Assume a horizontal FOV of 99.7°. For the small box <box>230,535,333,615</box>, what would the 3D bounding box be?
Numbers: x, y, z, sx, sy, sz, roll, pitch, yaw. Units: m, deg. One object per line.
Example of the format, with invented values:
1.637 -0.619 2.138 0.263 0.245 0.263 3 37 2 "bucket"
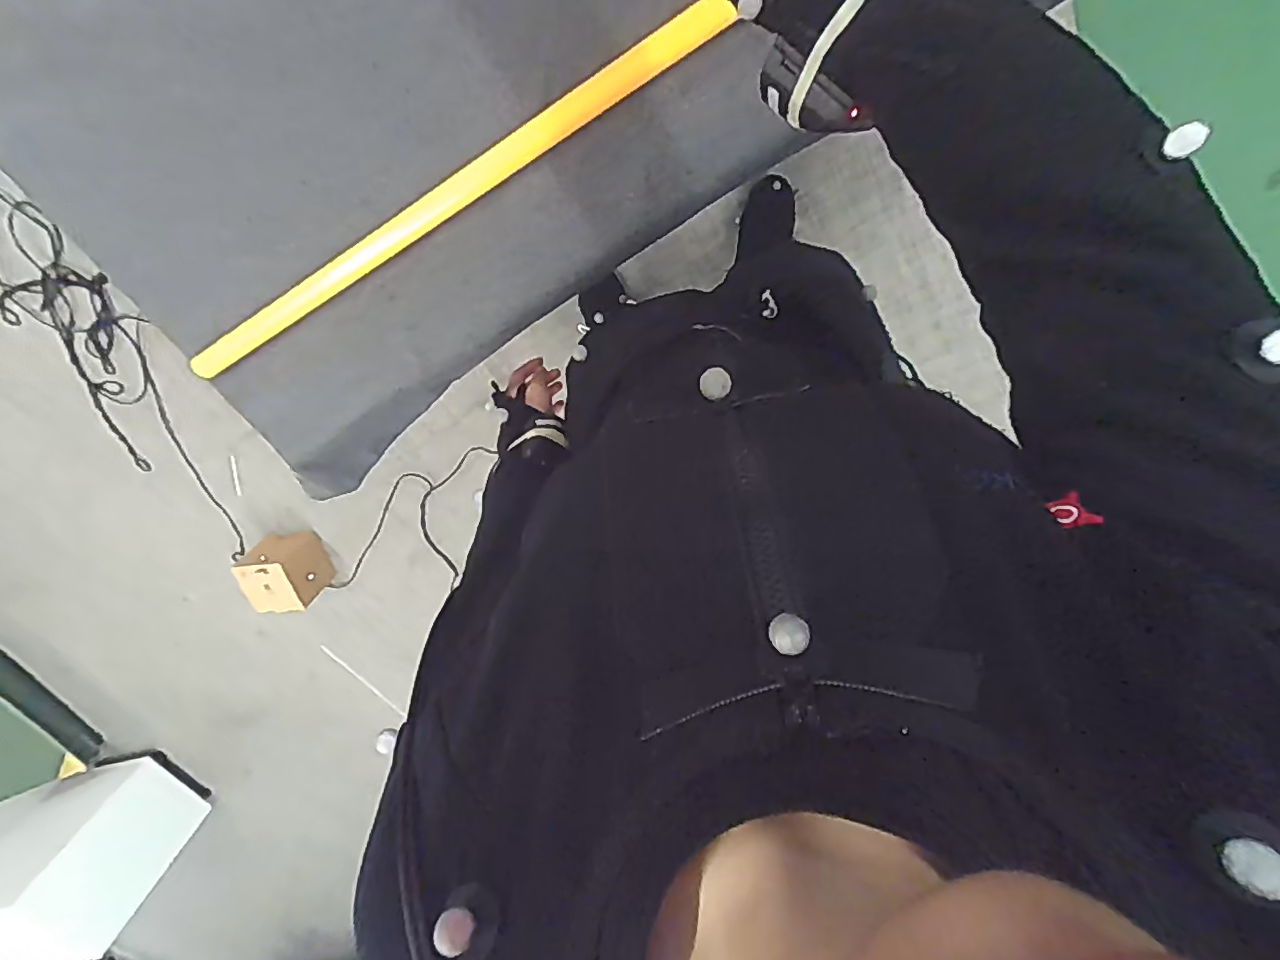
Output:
-1.077 0.288 1.644 0.168 0.176 0.179 -5 118 8 "small box"
